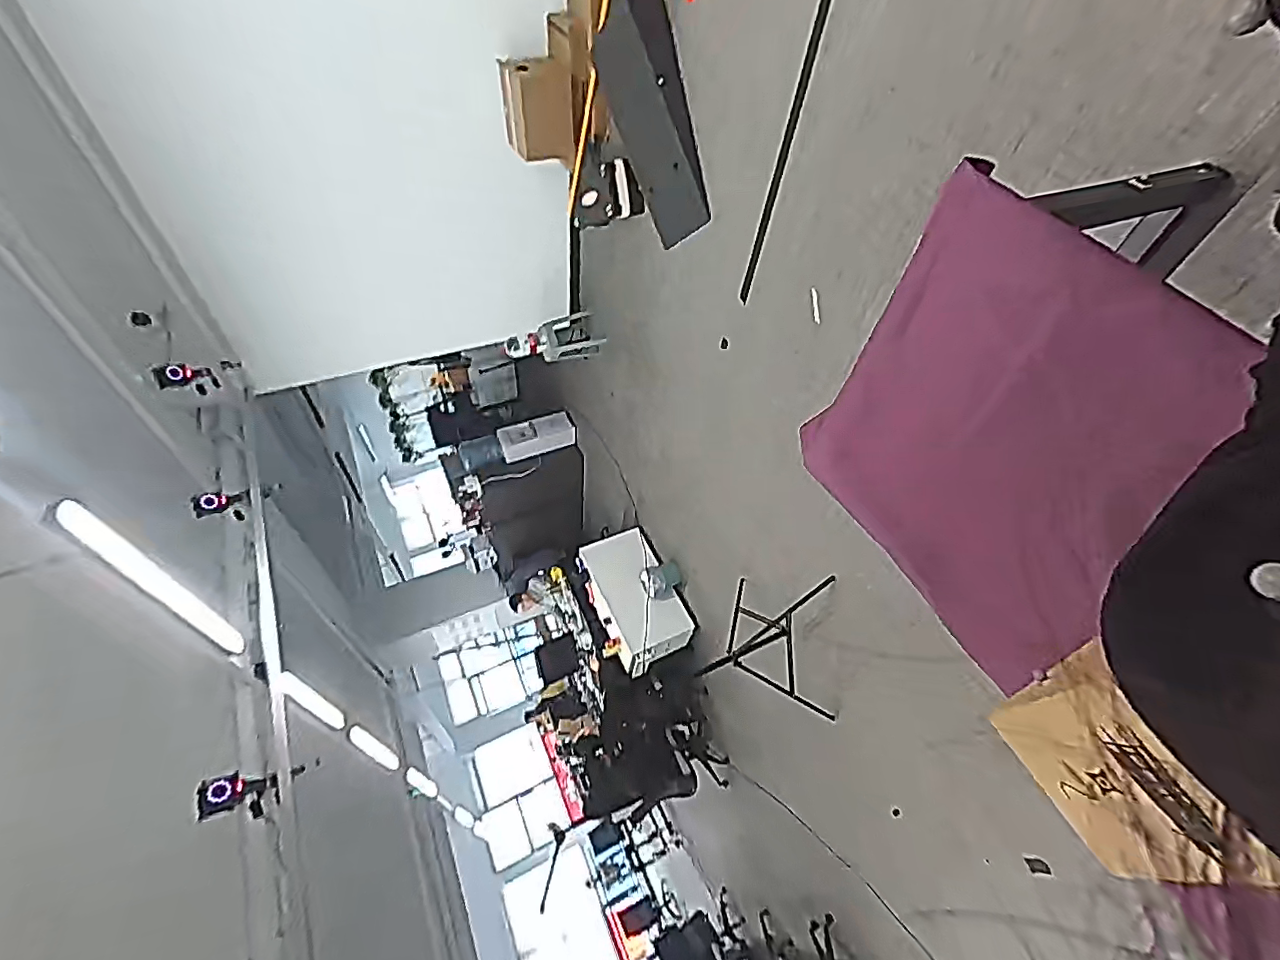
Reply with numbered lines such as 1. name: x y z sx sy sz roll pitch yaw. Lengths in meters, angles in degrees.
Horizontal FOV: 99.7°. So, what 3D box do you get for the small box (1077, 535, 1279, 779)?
1. small box: 0.642 0.186 0.573 0.168 0.176 0.179 58 156 28
